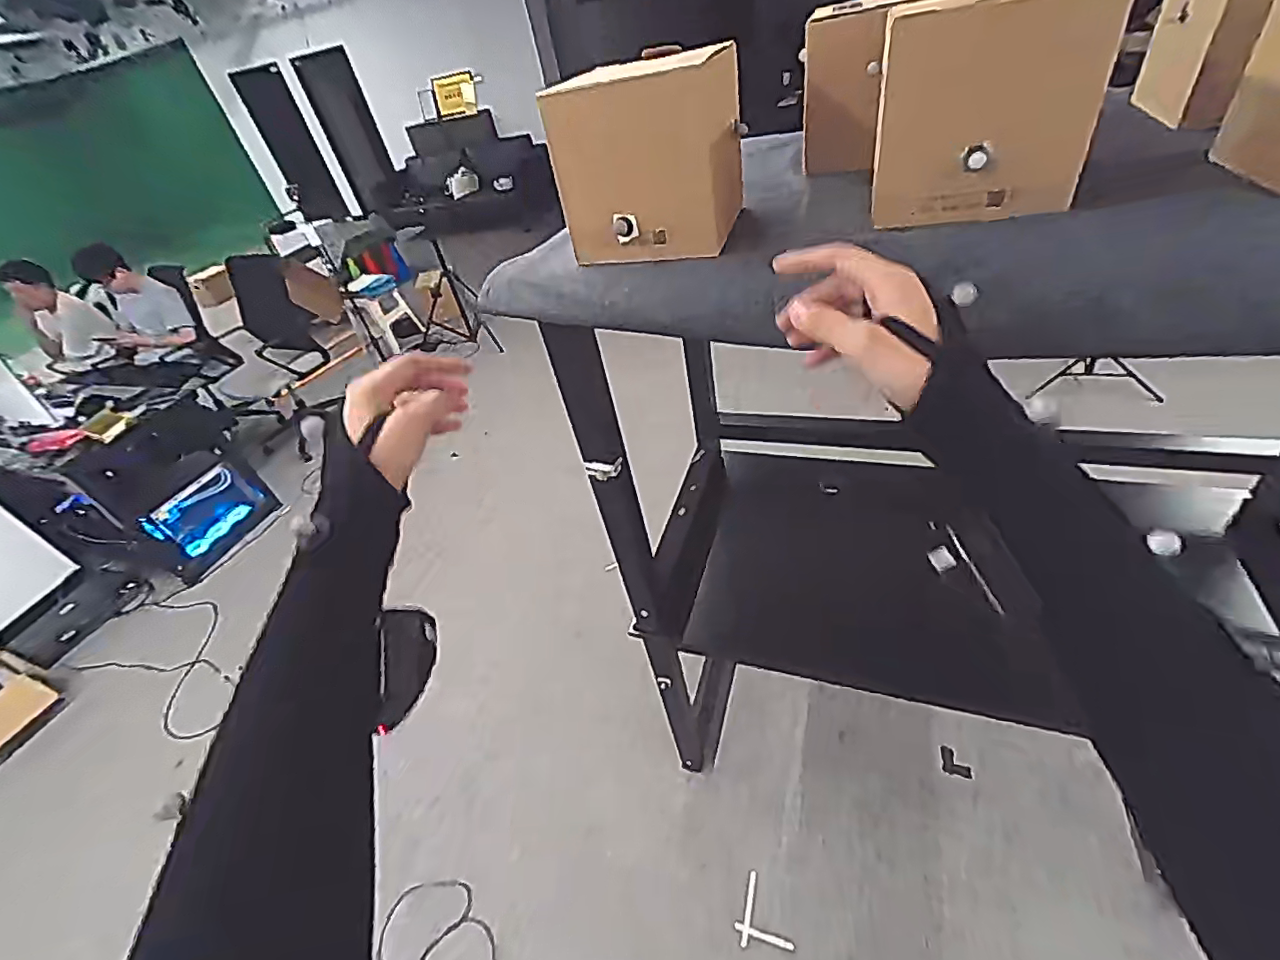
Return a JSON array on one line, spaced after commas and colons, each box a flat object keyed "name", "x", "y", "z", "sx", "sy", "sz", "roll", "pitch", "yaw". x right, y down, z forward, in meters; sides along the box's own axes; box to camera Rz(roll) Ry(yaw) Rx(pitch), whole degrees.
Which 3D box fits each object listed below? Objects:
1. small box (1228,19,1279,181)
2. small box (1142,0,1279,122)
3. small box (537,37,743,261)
[{"name": "small box", "x": 0.596, "y": -0.315, "z": 0.384, "sx": 0.168, "sy": 0.176, "sz": 0.179, "roll": 4, "pitch": 41, "yaw": 20}, {"name": "small box", "x": 0.687, "y": -0.497, "z": 0.573, "sx": 0.168, "sy": 0.176, "sz": 0.179, "roll": 5, "pitch": 43, "yaw": 20}, {"name": "small box", "x": 0.017, "y": -0.351, "z": 0.582, "sx": 0.168, "sy": 0.176, "sz": 0.179, "roll": 3, "pitch": 42, "yaw": 19}]
